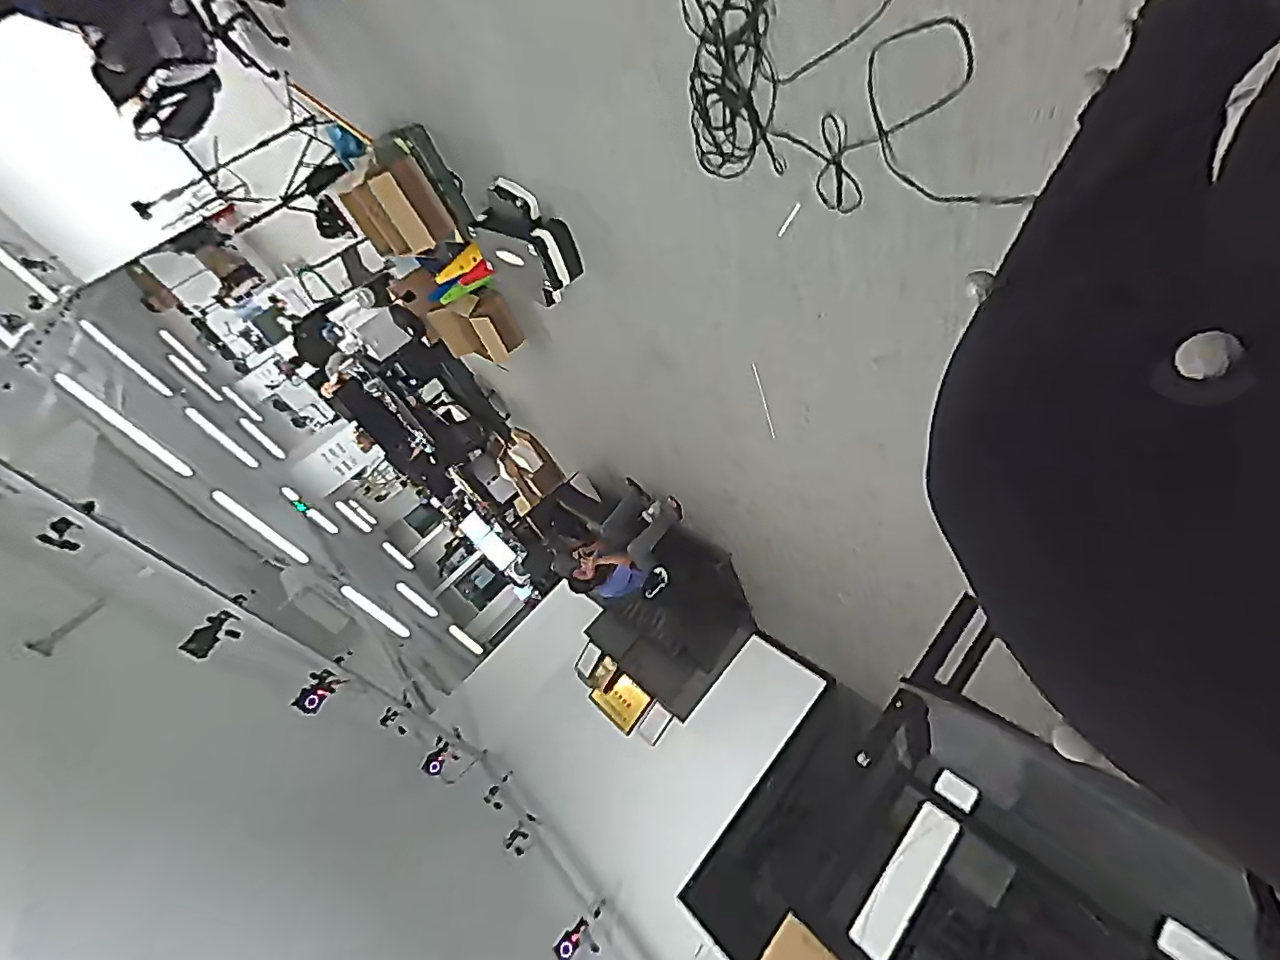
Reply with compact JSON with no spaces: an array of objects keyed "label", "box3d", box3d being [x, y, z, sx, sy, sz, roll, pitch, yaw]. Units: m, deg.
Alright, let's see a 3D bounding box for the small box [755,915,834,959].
[{"label":"small box","box3d":[0.424,1.340,1.483,0.168,0.176,0.179,28,156,41]}]
